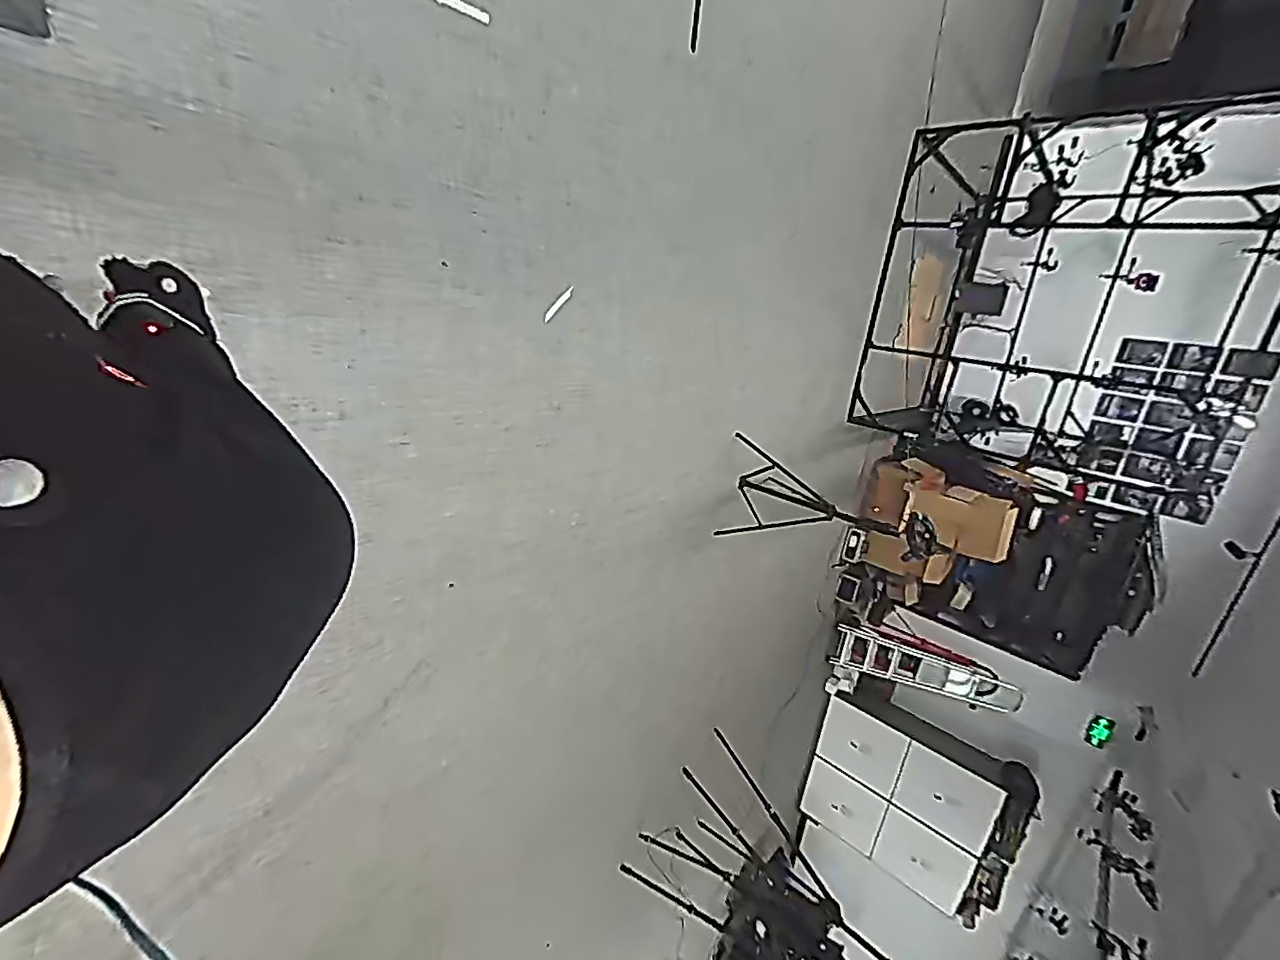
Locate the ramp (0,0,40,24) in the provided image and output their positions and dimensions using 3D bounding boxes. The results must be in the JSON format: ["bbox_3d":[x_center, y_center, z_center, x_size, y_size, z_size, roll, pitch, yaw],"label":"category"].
[{"bbox_3d":[-1.030,-1.143,0.514,0.509,0.206,0.991,-17,120,-47],"label":"ramp"}]
